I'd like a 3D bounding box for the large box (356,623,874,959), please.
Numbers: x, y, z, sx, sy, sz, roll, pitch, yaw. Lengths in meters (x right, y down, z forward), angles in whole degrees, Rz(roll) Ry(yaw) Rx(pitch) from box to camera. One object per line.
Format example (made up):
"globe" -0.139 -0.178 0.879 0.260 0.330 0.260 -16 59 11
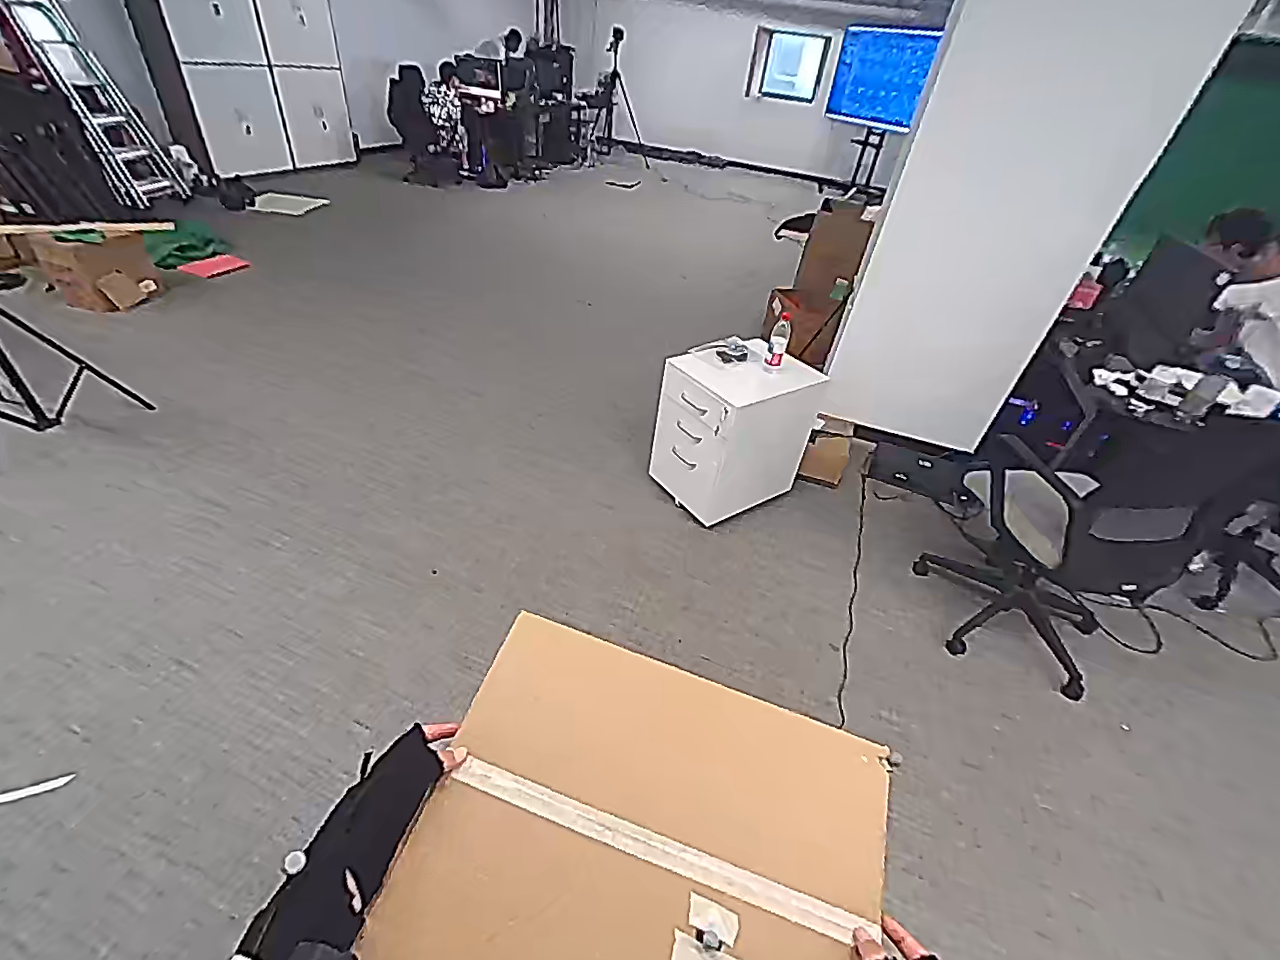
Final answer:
"large box" -0.009 0.418 0.609 0.408 0.320 0.320 19 54 7
